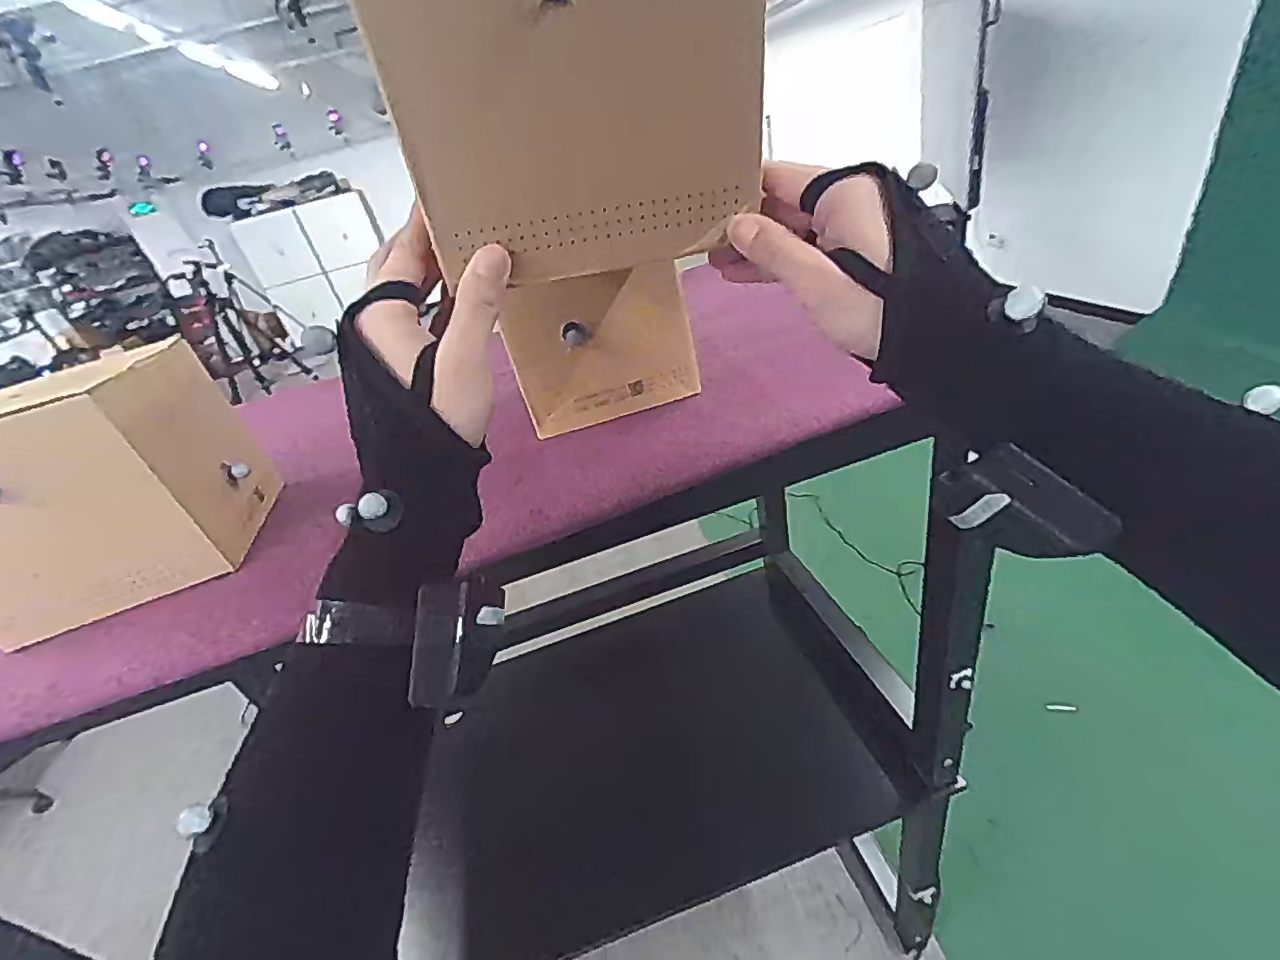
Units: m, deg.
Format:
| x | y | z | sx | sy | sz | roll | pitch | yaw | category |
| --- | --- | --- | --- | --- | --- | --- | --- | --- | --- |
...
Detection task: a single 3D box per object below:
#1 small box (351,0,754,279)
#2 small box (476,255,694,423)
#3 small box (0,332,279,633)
| x | y | z | sx | sy | sz | roll | pitch | yaw | category |
| --- | --- | --- | --- | --- | --- | --- | --- | --- | --- |
| -0.041 | -0.226 | 0.298 | 0.179 | 0.176 | 0.168 | -11 | 41 | -3 | small box |
| -0.054 | -0.173 | 0.553 | 0.168 | 0.176 | 0.179 | -17 | 31 | -2 | small box |
| -0.458 | -0.003 | 0.458 | 0.179 | 0.176 | 0.168 | -21 | 32 | -9 | small box |
